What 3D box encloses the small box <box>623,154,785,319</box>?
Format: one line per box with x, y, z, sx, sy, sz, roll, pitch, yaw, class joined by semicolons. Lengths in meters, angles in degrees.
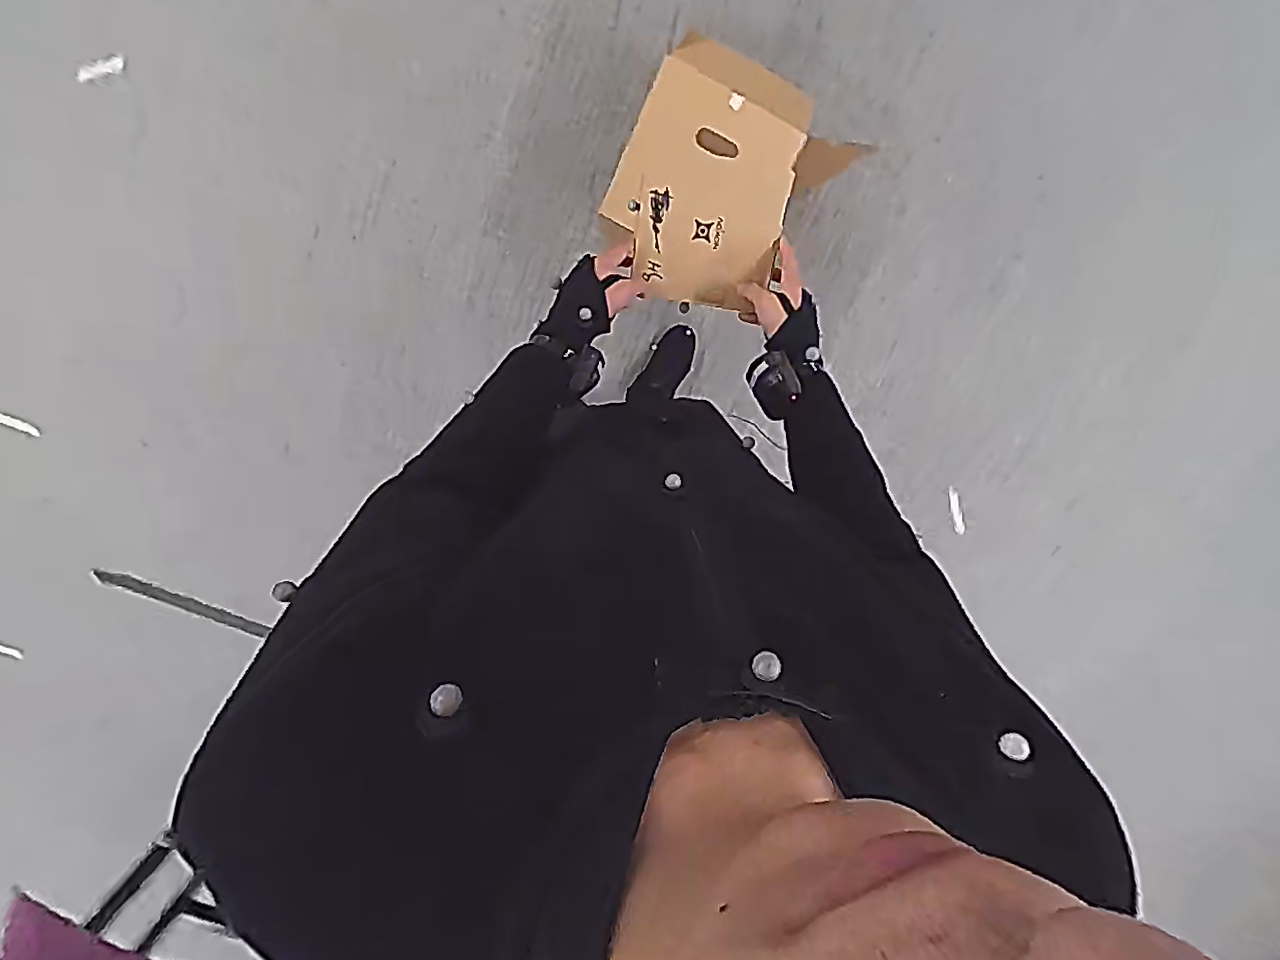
0.074;-0.325;0.740;0.179;0.176;0.168;7;110;-5;small box
